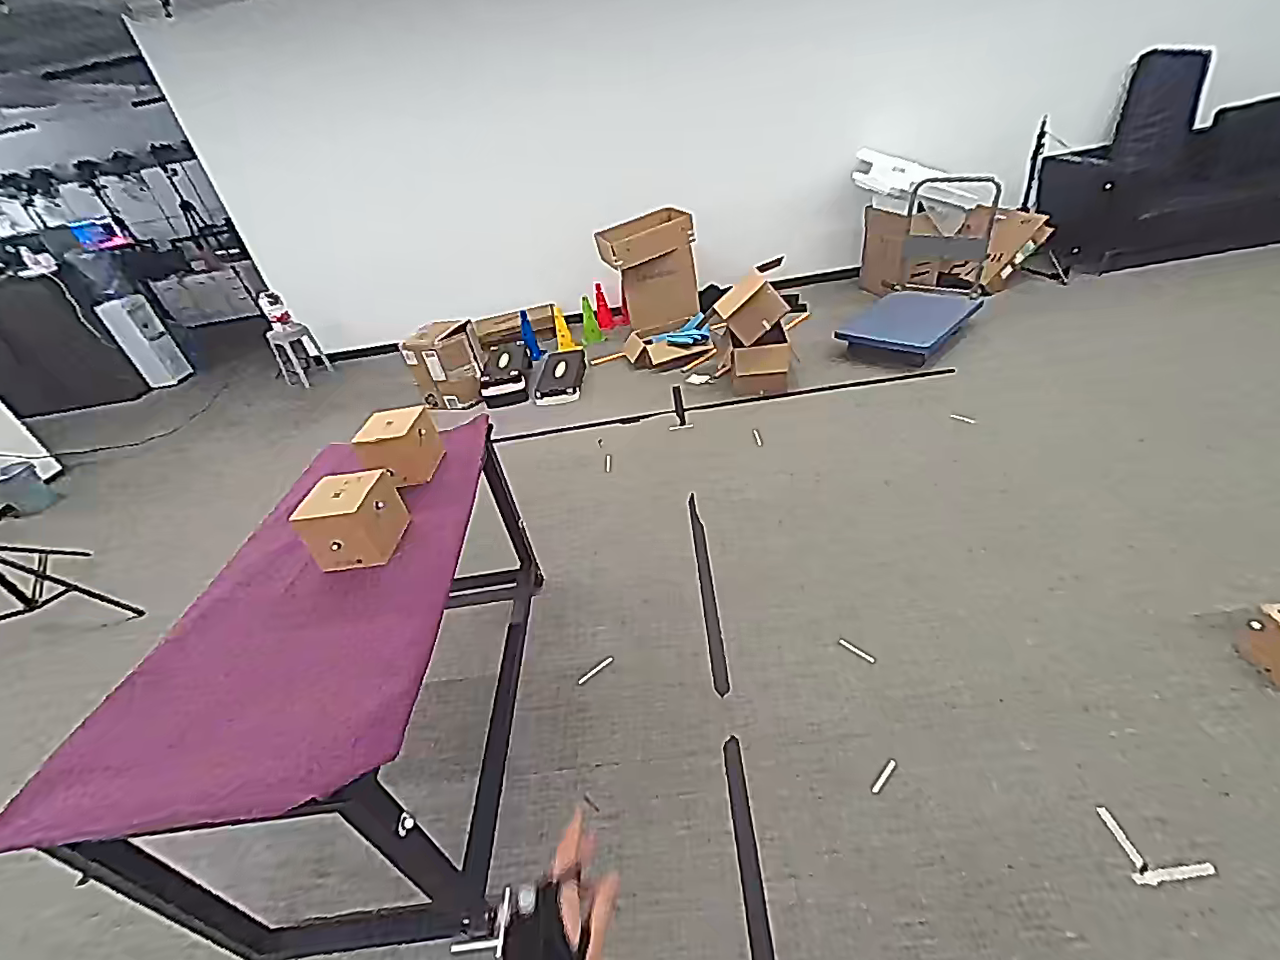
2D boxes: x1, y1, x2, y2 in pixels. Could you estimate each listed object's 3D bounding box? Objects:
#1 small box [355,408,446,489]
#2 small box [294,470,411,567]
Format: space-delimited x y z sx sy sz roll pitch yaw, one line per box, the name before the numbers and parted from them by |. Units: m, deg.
small box | -0.701 -0.092 1.608 0.168 0.176 0.179 -8 36 6
small box | -0.695 0.101 1.333 0.168 0.176 0.179 -7 34 5
